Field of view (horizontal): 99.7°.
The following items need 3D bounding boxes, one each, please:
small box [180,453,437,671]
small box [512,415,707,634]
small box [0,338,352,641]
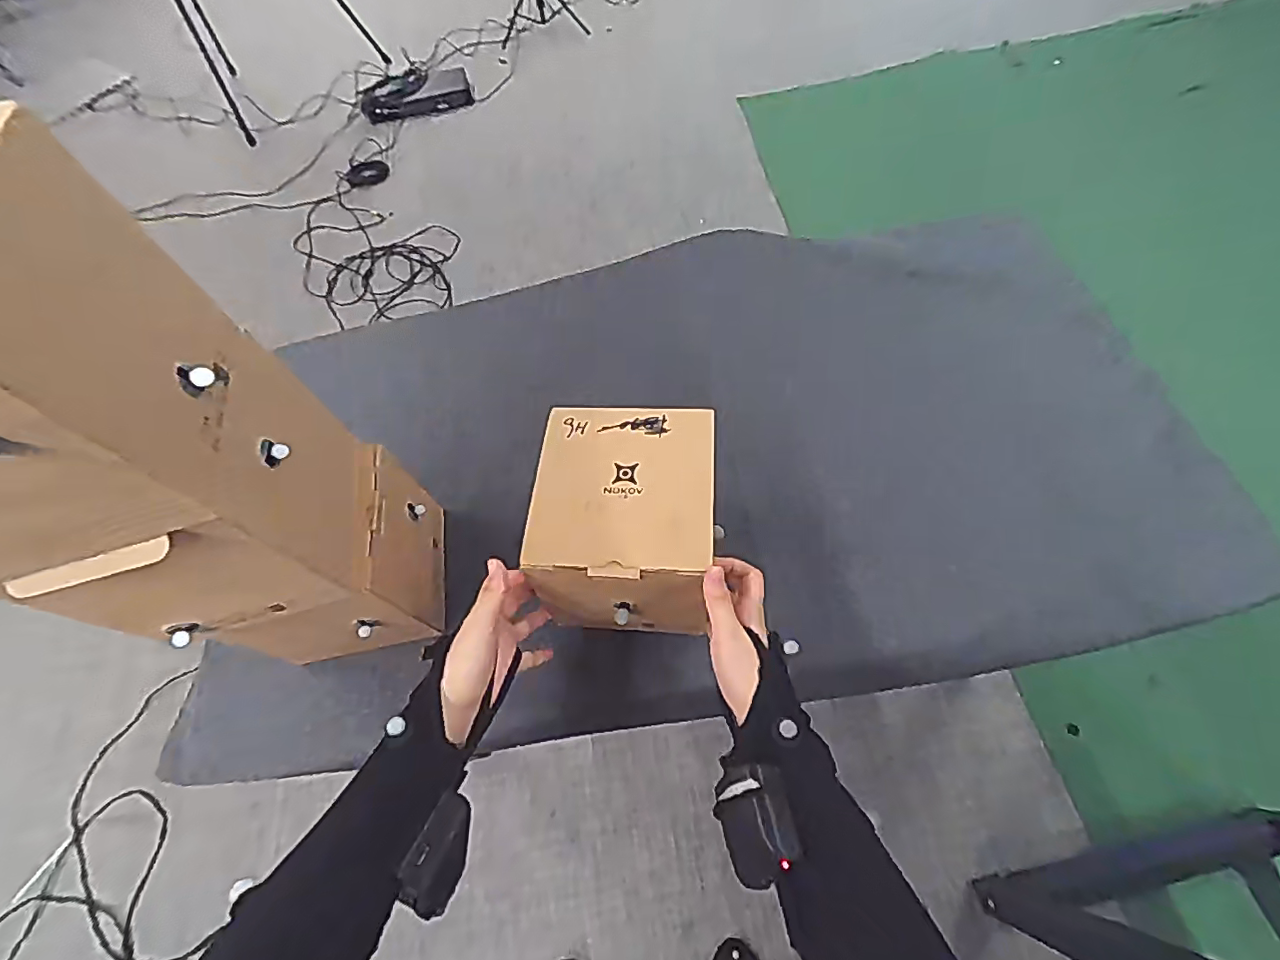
[{"bbox_3d":[-0.337,0.097,0.592,0.179,0.176,0.168,-13,59,1],"label":"small box"},{"bbox_3d":[-0.015,0.052,0.560,0.168,0.176,0.179,1,59,7],"label":"small box"},{"bbox_3d":[-0.364,0.020,0.448,0.168,0.176,0.179,-16,59,-3],"label":"small box"}]
